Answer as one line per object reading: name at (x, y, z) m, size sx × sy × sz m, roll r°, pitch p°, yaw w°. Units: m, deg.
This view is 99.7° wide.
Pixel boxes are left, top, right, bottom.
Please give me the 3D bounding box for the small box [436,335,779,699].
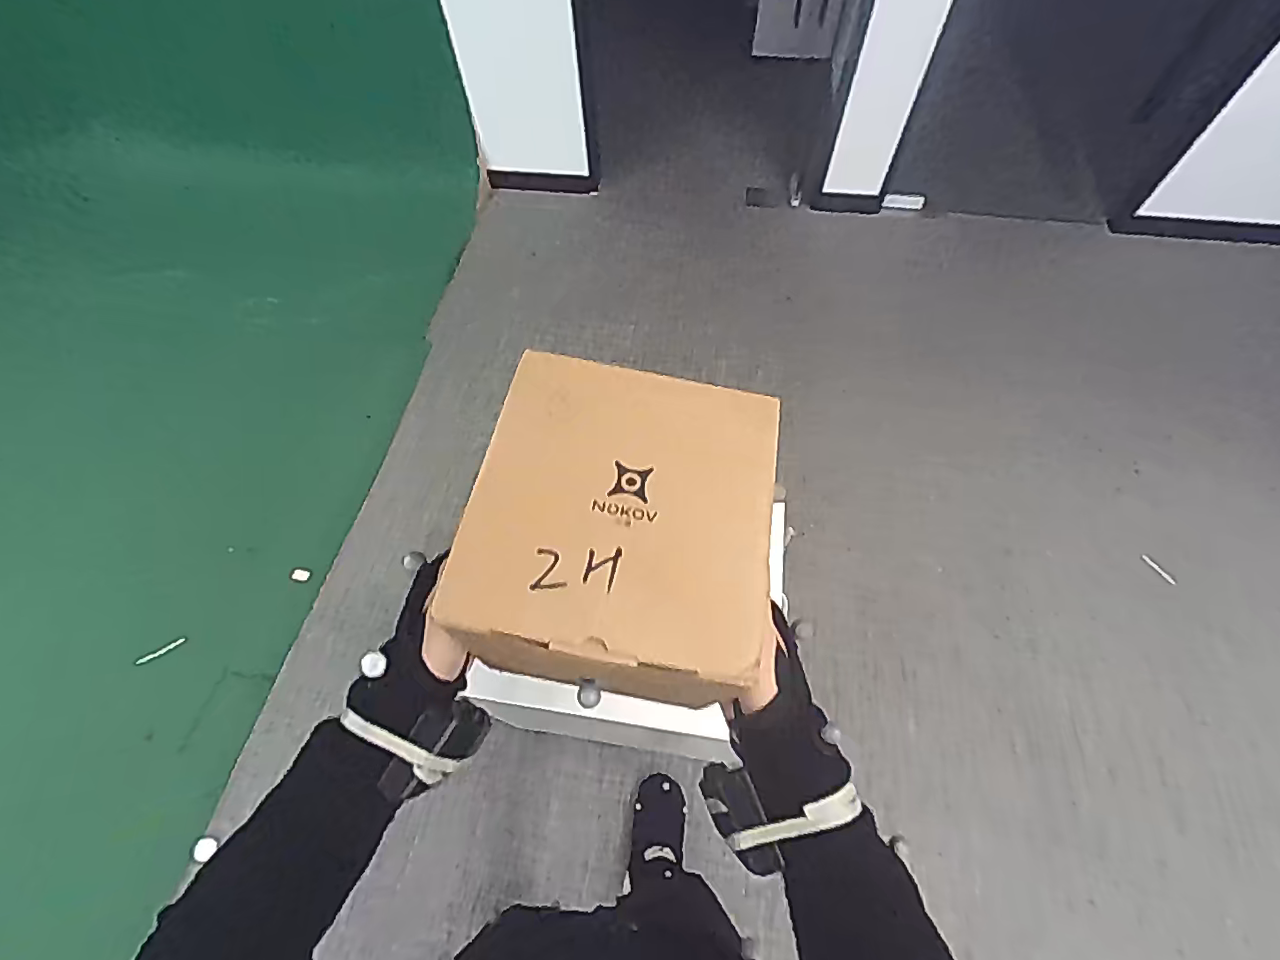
small box at (-0.013, 0.035, 0.371) m, size 0.168 × 0.176 × 0.179 m, roll 11°, pitch 61°, yaw 1°
